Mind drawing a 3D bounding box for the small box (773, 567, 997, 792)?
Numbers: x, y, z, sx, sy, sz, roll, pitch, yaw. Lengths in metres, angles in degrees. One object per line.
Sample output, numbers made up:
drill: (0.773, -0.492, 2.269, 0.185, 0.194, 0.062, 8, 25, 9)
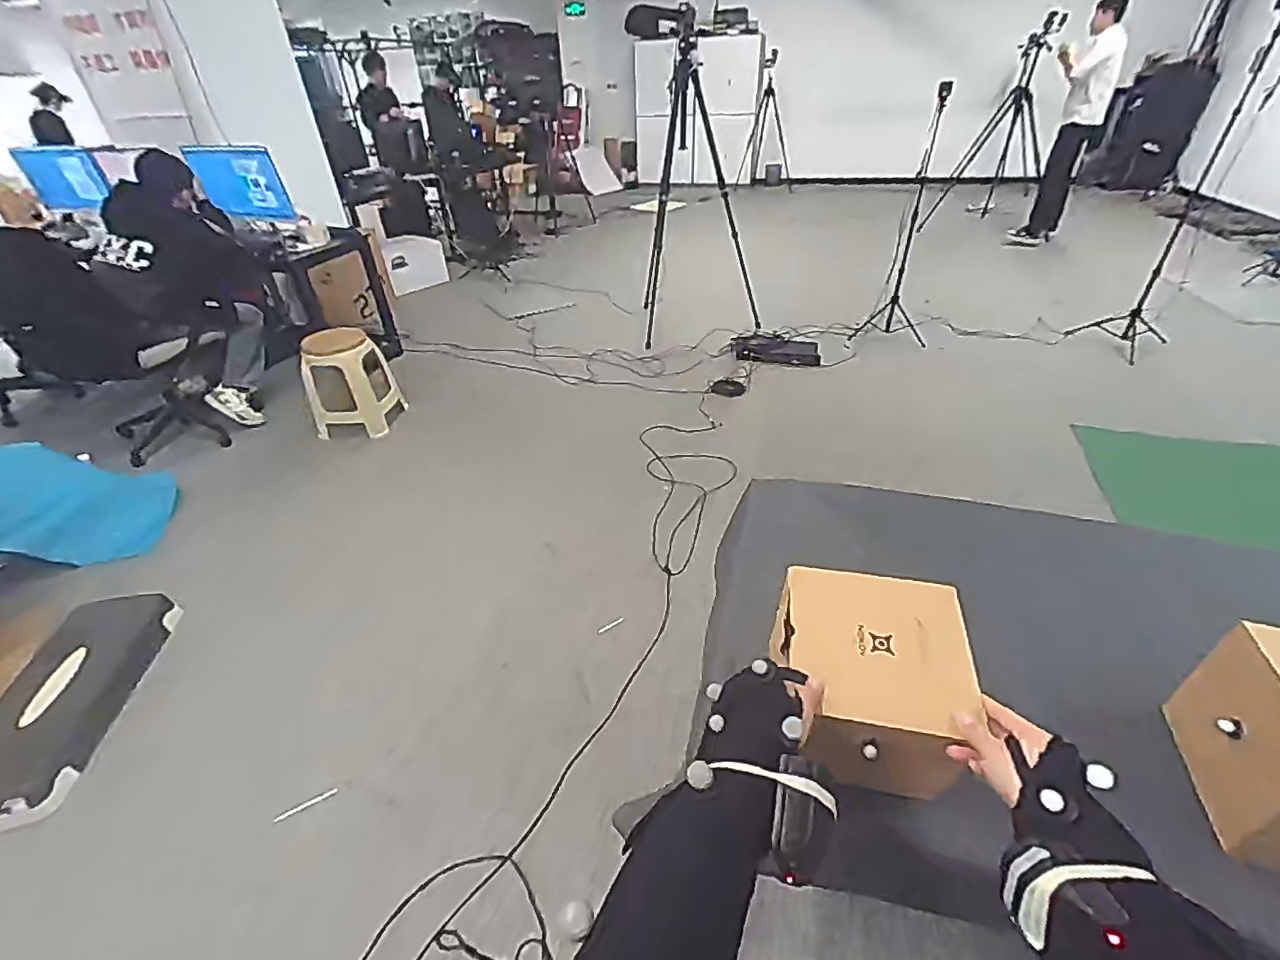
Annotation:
small box: (0.242, 0.217, 0.589, 0.179, 0.176, 0.168, 5, 46, 9)
